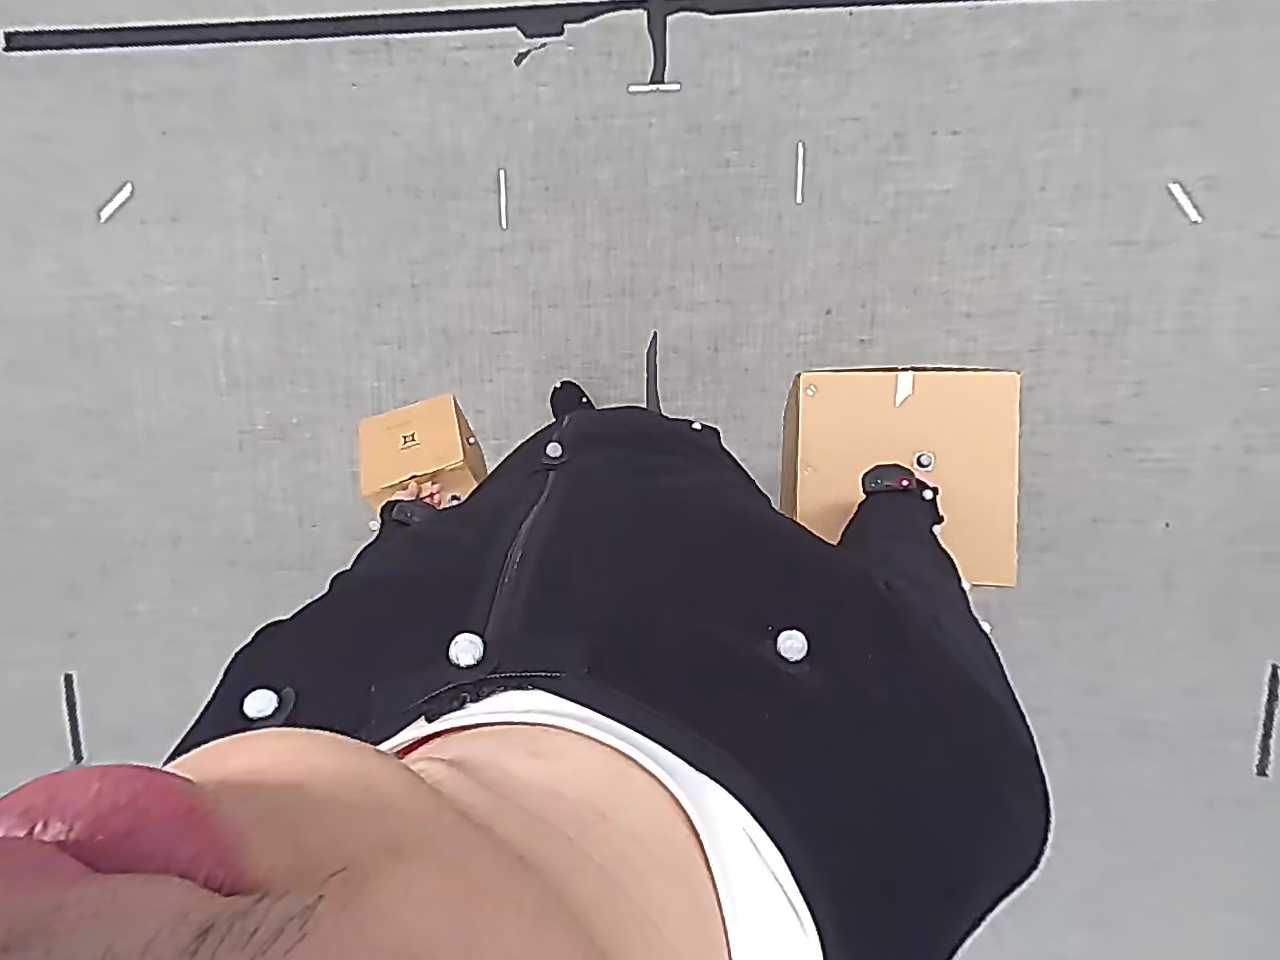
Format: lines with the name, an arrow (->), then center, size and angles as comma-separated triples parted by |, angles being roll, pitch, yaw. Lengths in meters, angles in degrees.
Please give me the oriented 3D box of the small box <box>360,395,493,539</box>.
small box -> -0.375, -0.015, 0.963 | 0.168, 0.176, 0.179 | -19, 53, -8
